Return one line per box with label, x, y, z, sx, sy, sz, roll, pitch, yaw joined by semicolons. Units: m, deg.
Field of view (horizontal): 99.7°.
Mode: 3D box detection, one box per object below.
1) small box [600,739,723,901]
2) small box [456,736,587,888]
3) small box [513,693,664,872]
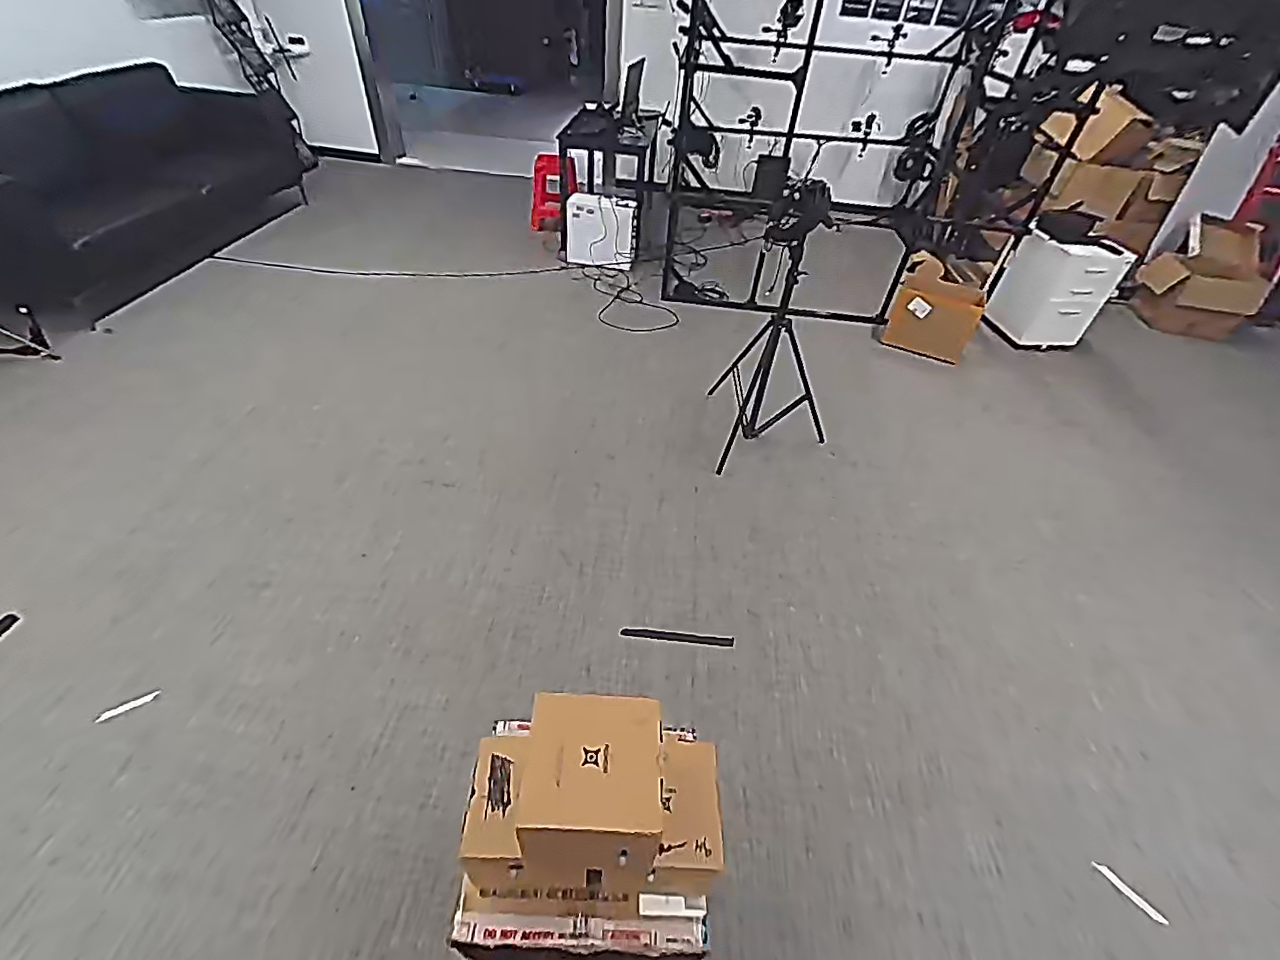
small box;0.028;0.532;0.854;0.168;0.176;0.179;5;41;-2
small box;-0.169;0.519;0.845;0.179;0.176;0.168;2;42;-3
small box;-0.065;0.410;0.732;0.179;0.176;0.168;3;41;-2
